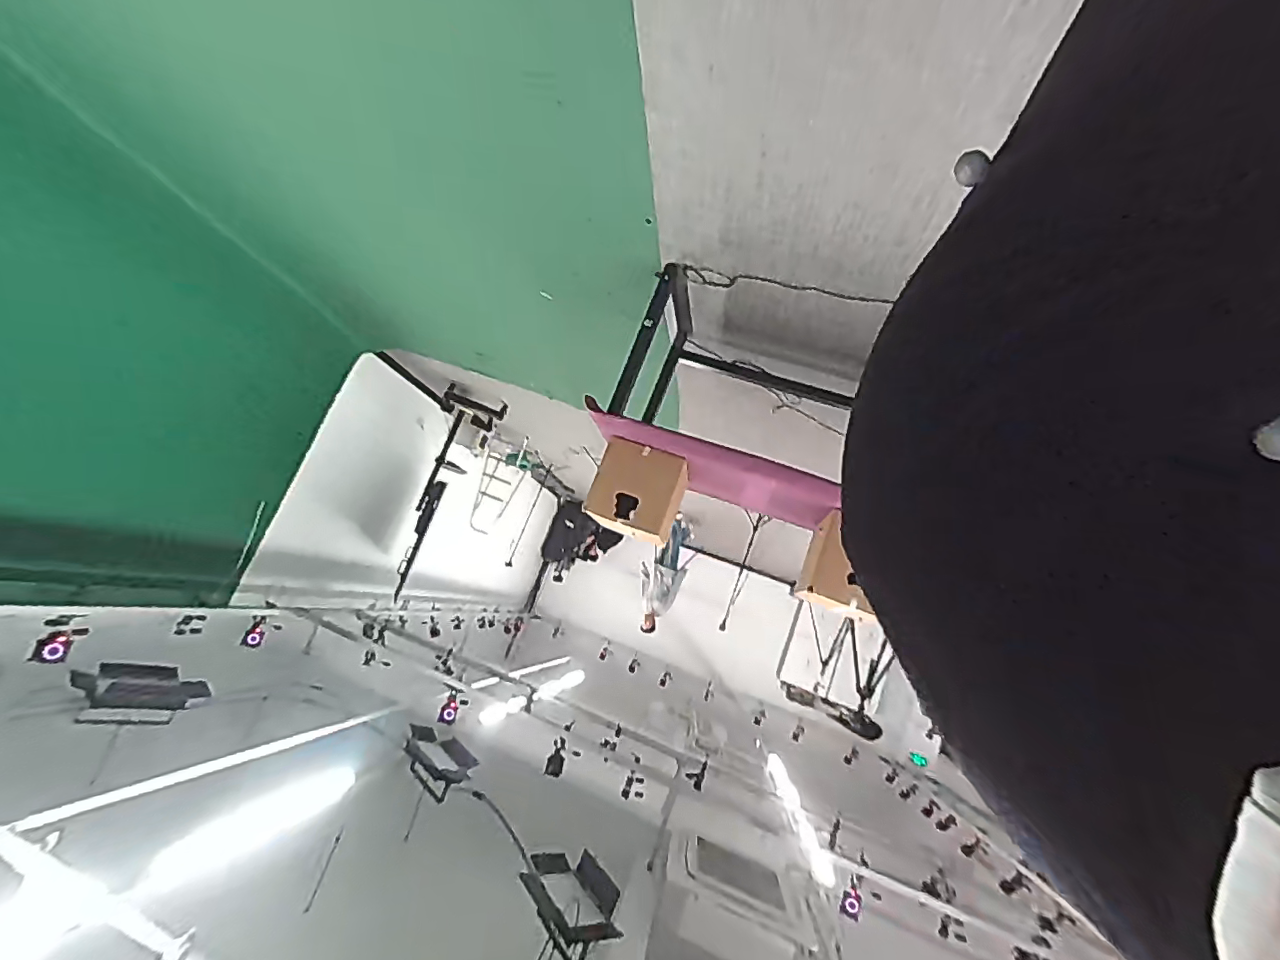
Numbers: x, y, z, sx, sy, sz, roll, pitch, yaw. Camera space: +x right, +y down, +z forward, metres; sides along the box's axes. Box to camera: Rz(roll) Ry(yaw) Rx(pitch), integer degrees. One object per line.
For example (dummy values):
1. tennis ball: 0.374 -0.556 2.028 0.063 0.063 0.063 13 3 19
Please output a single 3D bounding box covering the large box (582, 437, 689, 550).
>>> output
1. large box: 0.002 0.067 2.194 0.320 0.320 0.408 17 168 10
